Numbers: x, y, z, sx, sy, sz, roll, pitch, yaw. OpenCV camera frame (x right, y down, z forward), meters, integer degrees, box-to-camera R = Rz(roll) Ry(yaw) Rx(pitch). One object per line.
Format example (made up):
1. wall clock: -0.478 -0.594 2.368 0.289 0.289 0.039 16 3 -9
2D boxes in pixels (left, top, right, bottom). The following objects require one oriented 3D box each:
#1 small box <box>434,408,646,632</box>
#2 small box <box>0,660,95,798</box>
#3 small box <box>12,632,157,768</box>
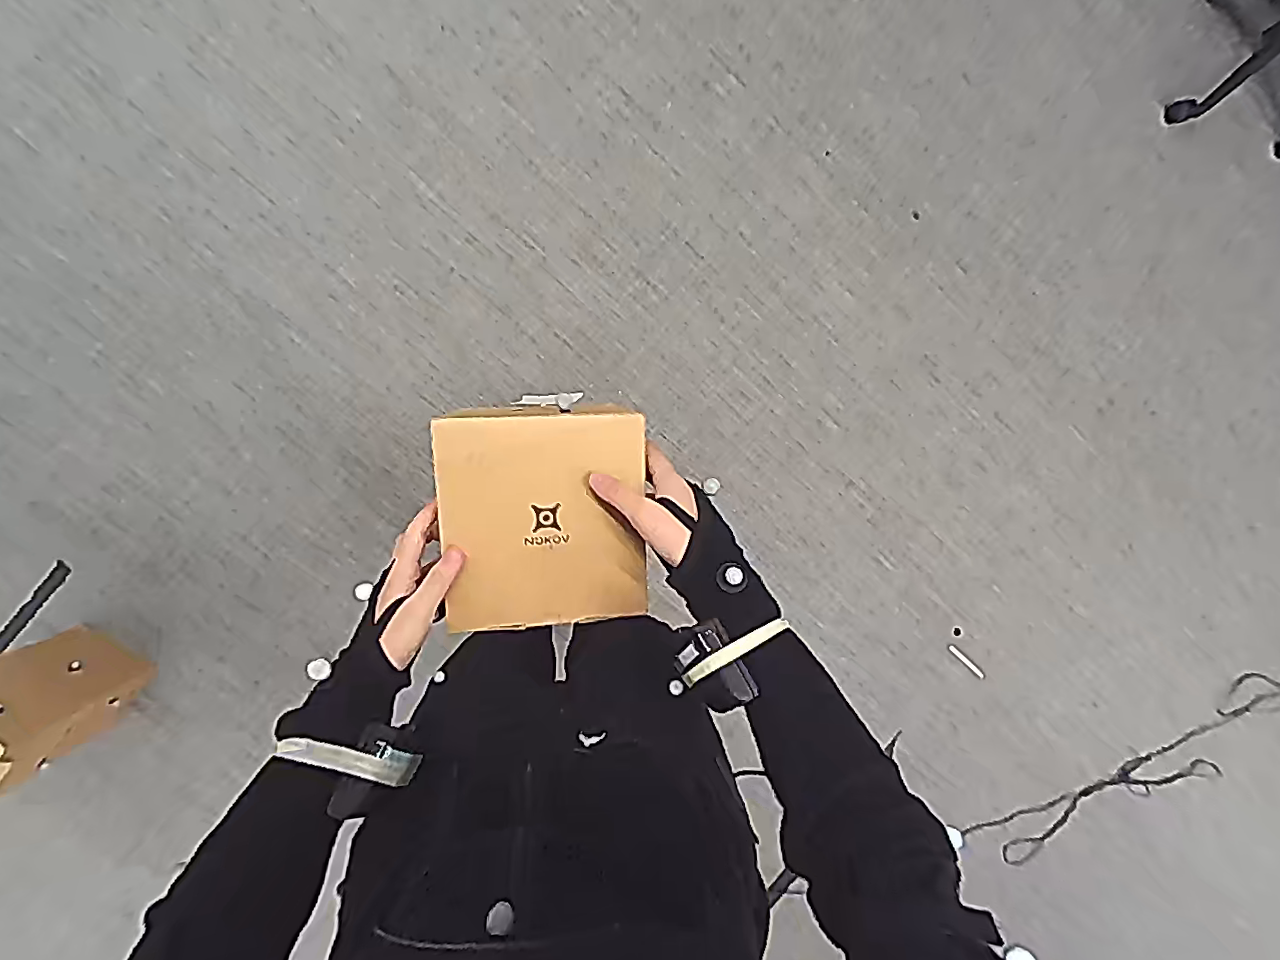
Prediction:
1. small box: -0.092 0.021 0.515 0.168 0.176 0.179 -4 100 -10
2. small box: -1.152 0.451 0.958 0.179 0.176 0.168 37 88 -8
3. small box: -1.178 0.443 1.121 0.179 0.176 0.168 36 88 -8
